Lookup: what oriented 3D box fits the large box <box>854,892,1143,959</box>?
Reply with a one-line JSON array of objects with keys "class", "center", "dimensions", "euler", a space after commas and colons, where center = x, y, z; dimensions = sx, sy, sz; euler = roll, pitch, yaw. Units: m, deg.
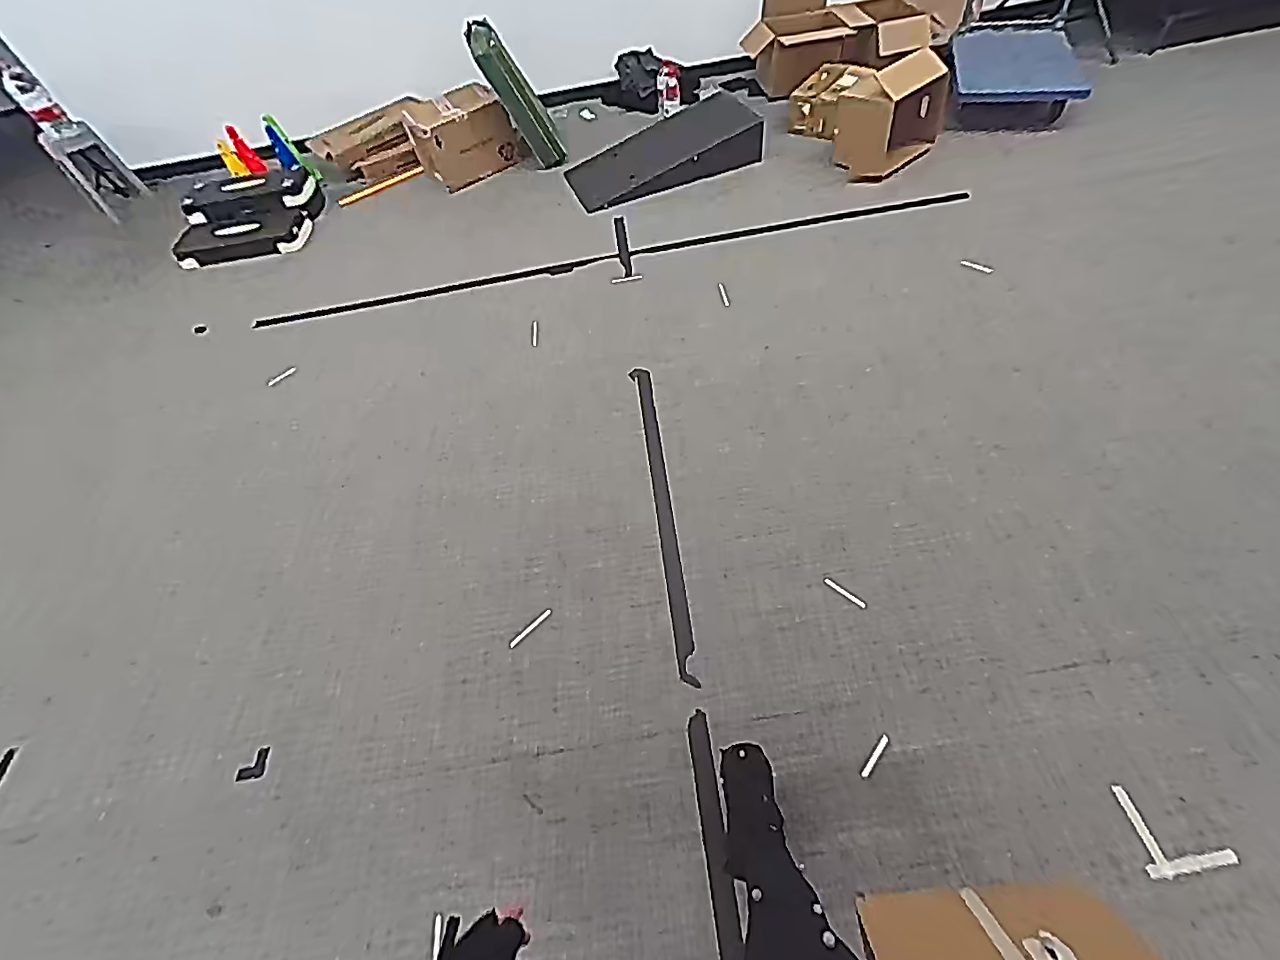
[{"class": "large box", "center": [0.463, 0.730, 0.572], "dimensions": [0.320, 0.408, 0.320], "euler": [-8, 79, 7]}]
